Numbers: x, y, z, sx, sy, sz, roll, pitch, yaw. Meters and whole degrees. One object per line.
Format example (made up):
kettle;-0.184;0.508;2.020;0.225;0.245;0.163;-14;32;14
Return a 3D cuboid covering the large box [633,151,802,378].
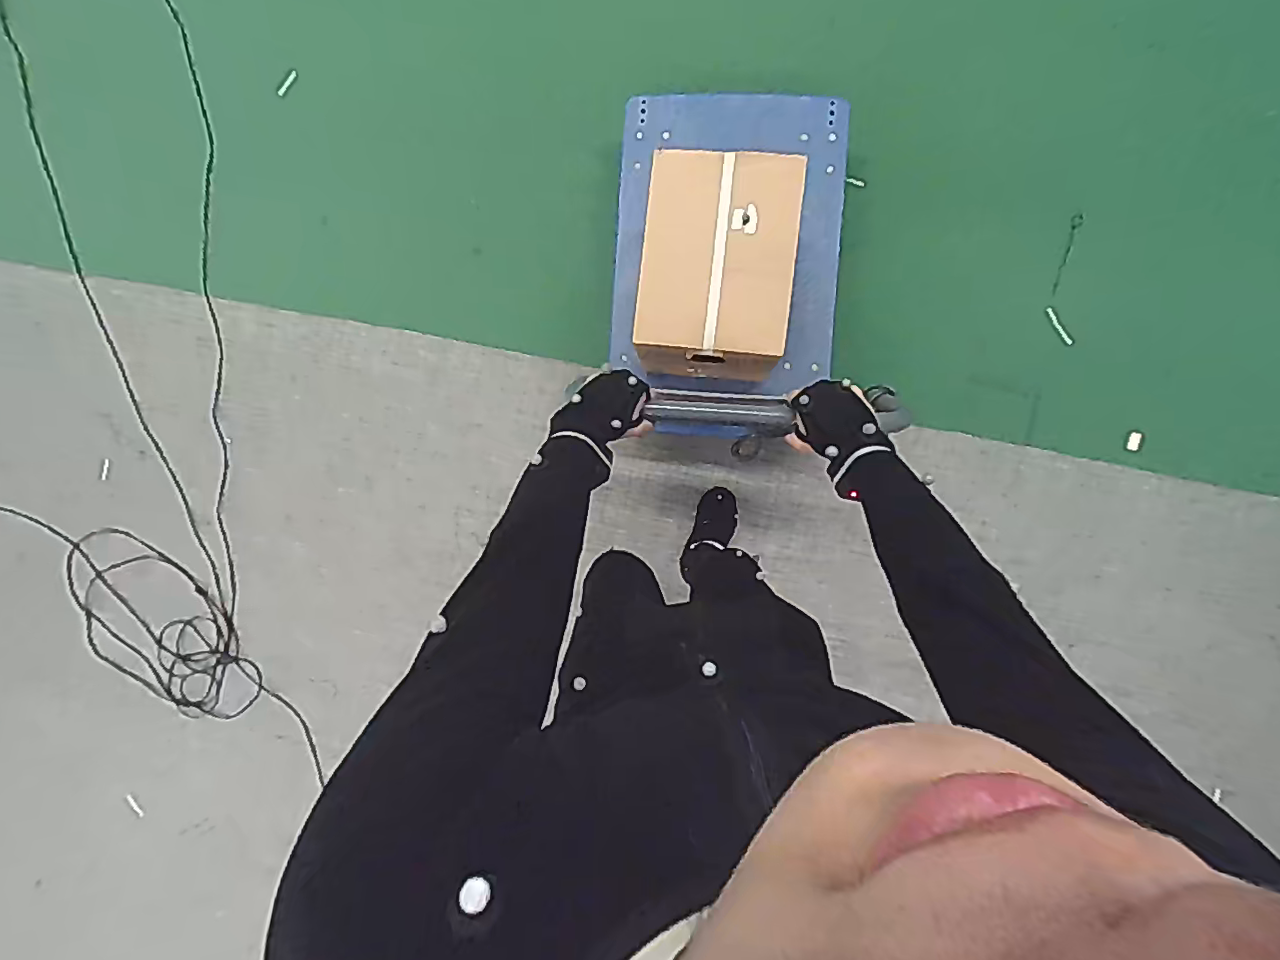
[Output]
large box;0.172;-0.468;1.253;0.320;0.320;0.408;7;91;5
